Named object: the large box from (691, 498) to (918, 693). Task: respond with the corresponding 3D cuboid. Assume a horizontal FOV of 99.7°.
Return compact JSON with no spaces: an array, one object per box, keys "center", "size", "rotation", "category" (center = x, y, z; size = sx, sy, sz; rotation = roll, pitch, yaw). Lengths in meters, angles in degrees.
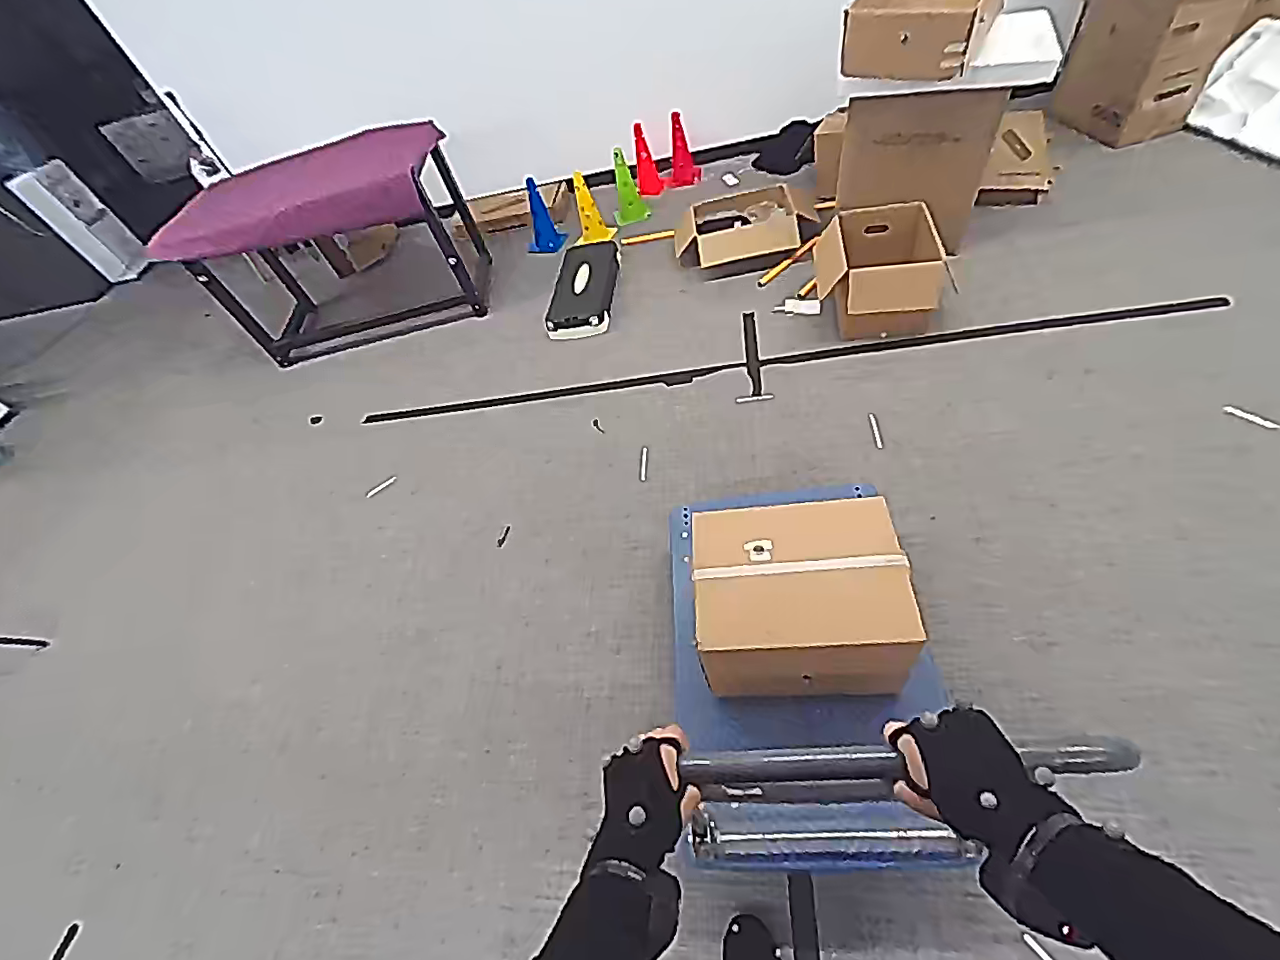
[{"center":[0.340,0.269,1.201],"size":[0.408,0.320,0.320],"rotation":[-6,51,11],"category":"large box"}]
